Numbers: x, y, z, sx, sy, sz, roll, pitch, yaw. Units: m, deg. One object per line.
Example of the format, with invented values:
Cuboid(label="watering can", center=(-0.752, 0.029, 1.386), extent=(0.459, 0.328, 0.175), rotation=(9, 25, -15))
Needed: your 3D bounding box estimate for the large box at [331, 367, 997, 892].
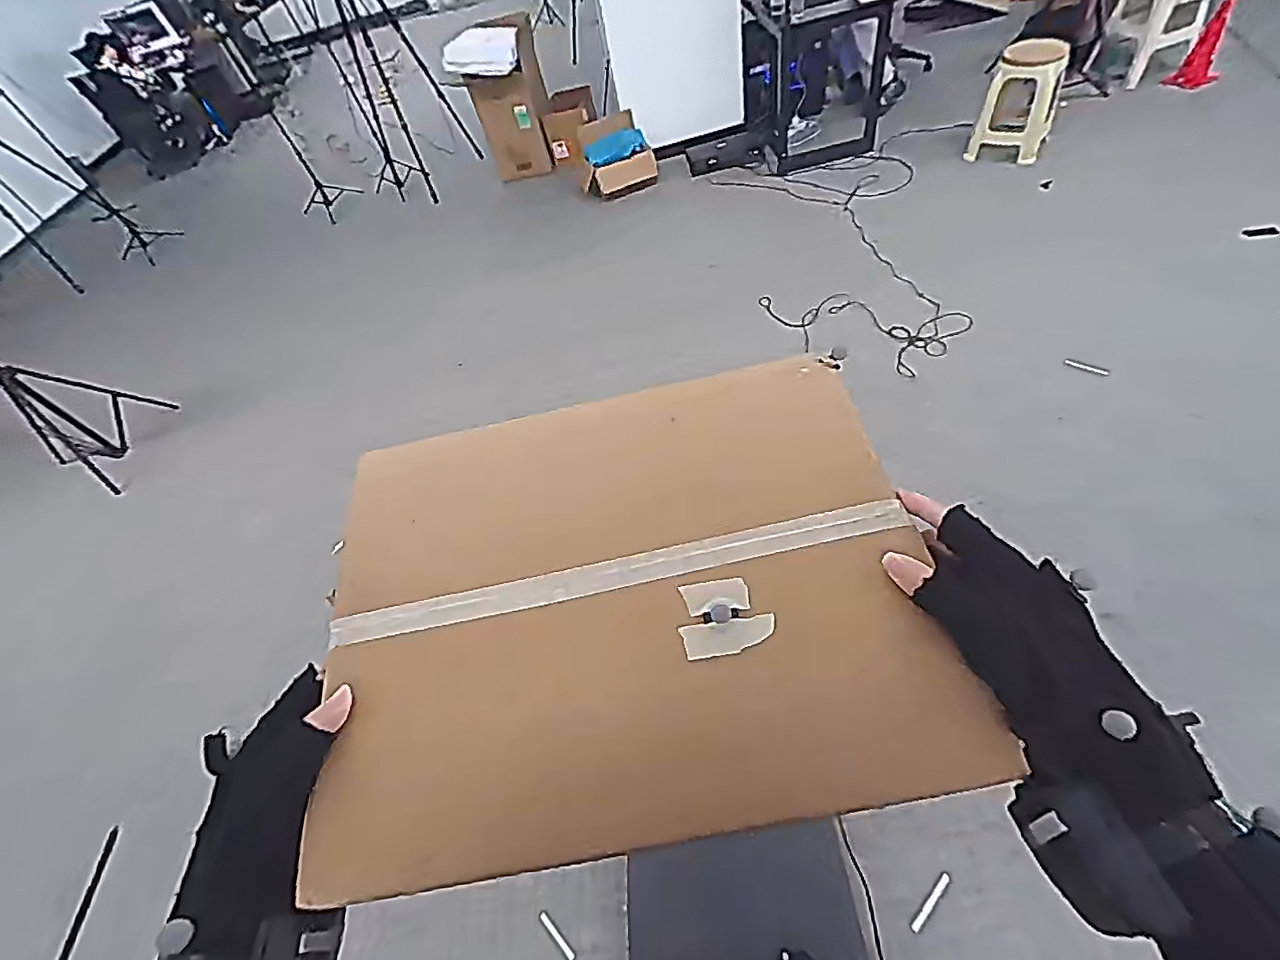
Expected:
Cuboid(label="large box", center=(0.006, 0.148, 0.514), extent=(0.408, 0.320, 0.320), rotation=(-12, 59, 2))
